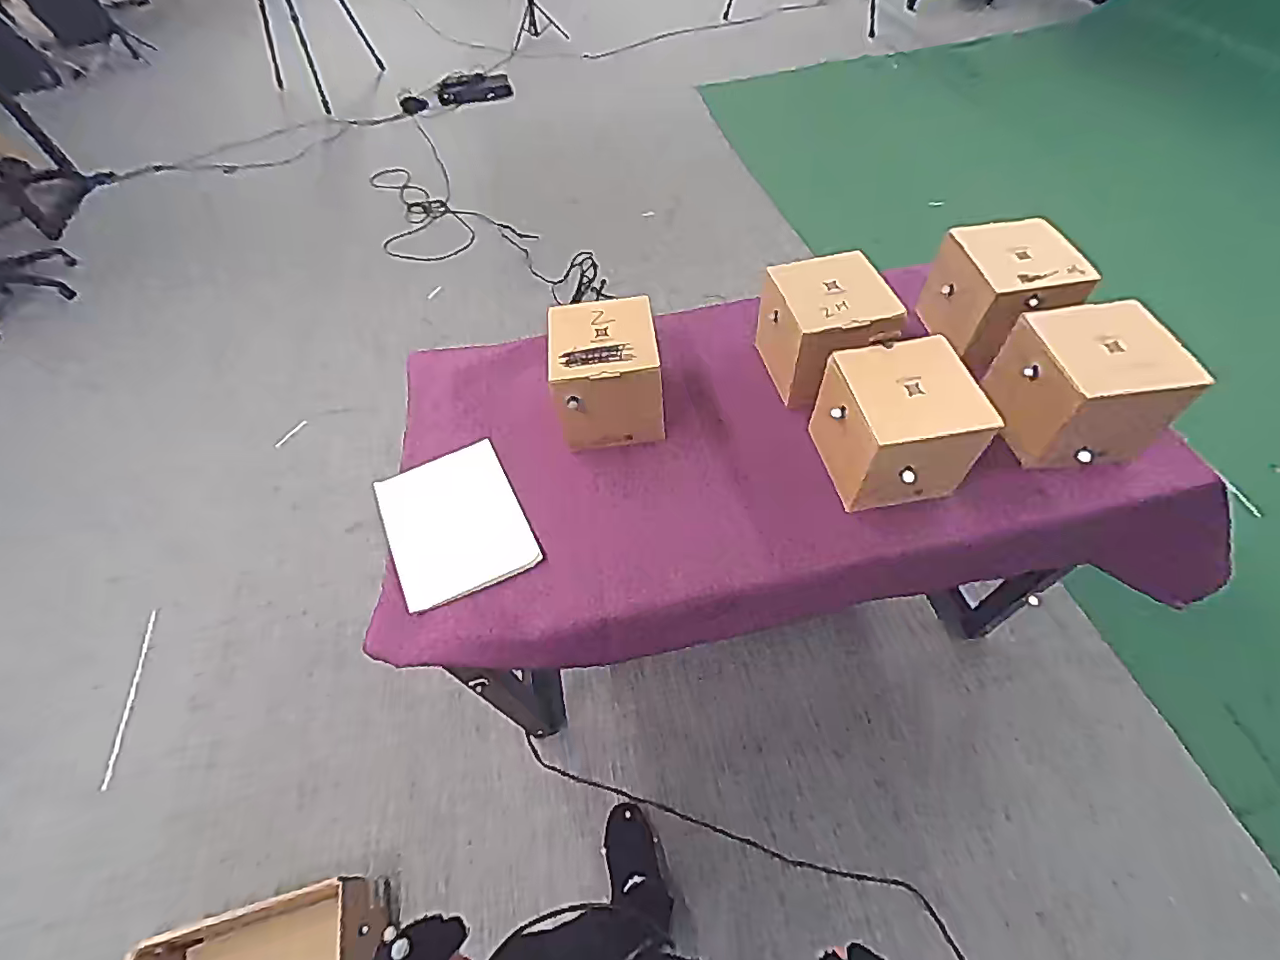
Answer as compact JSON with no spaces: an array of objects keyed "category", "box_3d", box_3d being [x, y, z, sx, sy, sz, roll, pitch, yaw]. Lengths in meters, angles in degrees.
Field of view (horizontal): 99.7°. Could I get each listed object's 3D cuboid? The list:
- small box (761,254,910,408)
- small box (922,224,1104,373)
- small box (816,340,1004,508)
[{"category":"small box","box_3d":[0.313,-0.249,0.913,0.168,0.176,0.179,-11,56,-3]},{"category":"small box","box_3d":[0.619,-0.309,0.930,0.168,0.176,0.179,-7,55,0]},{"category":"small box","box_3d":[0.374,-0.073,0.788,0.168,0.176,0.179,-9,56,-1]}]
